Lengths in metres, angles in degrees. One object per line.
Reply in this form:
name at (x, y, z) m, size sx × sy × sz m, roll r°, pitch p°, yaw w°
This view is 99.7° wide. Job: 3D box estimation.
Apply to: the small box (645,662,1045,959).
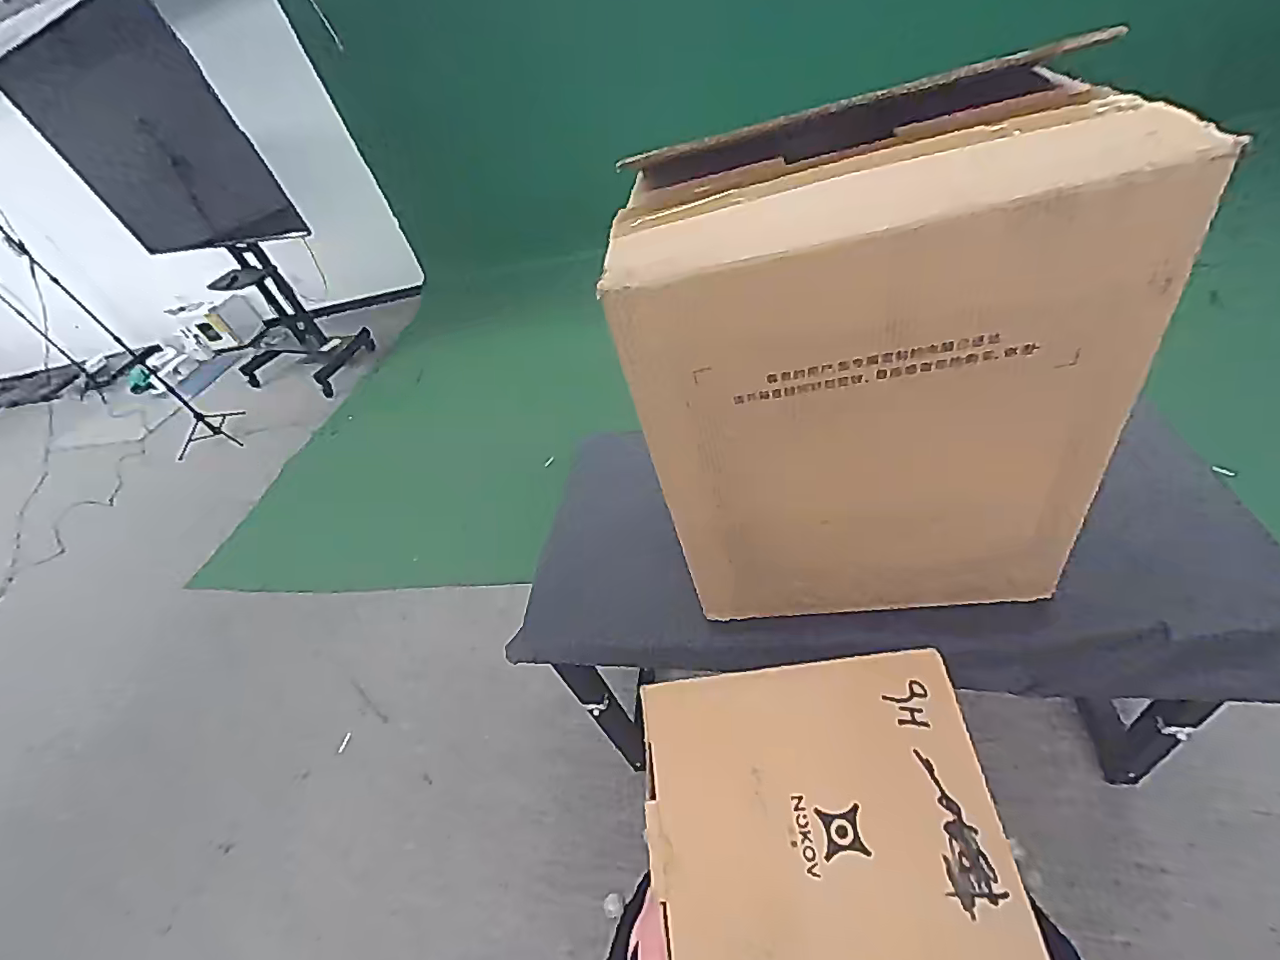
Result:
small box at (0.106, 0.224, 0.347) m, size 0.179 × 0.176 × 0.168 m, roll -8°, pitch 62°, yaw 4°
